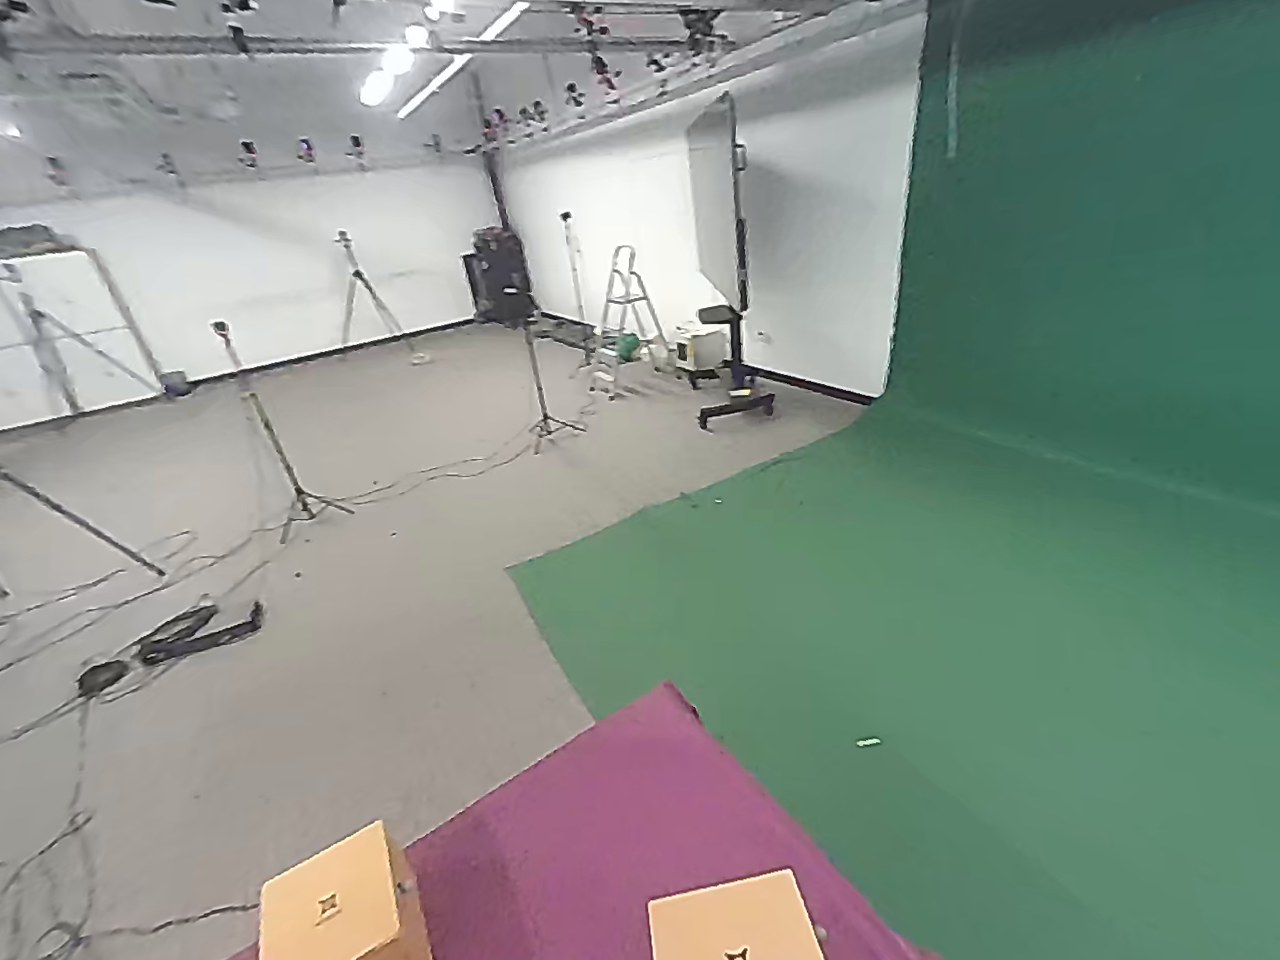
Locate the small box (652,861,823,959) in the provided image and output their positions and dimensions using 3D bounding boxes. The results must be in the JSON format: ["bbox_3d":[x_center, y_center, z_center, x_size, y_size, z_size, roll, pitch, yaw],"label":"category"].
[{"bbox_3d":[0.111,0.549,0.559,0.168,0.176,0.179,-12,19,1],"label":"small box"}]

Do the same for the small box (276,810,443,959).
[{"bbox_3d":[-0.411,0.651,0.802,0.168,0.176,0.179,-22,34,-23],"label":"small box"}]
